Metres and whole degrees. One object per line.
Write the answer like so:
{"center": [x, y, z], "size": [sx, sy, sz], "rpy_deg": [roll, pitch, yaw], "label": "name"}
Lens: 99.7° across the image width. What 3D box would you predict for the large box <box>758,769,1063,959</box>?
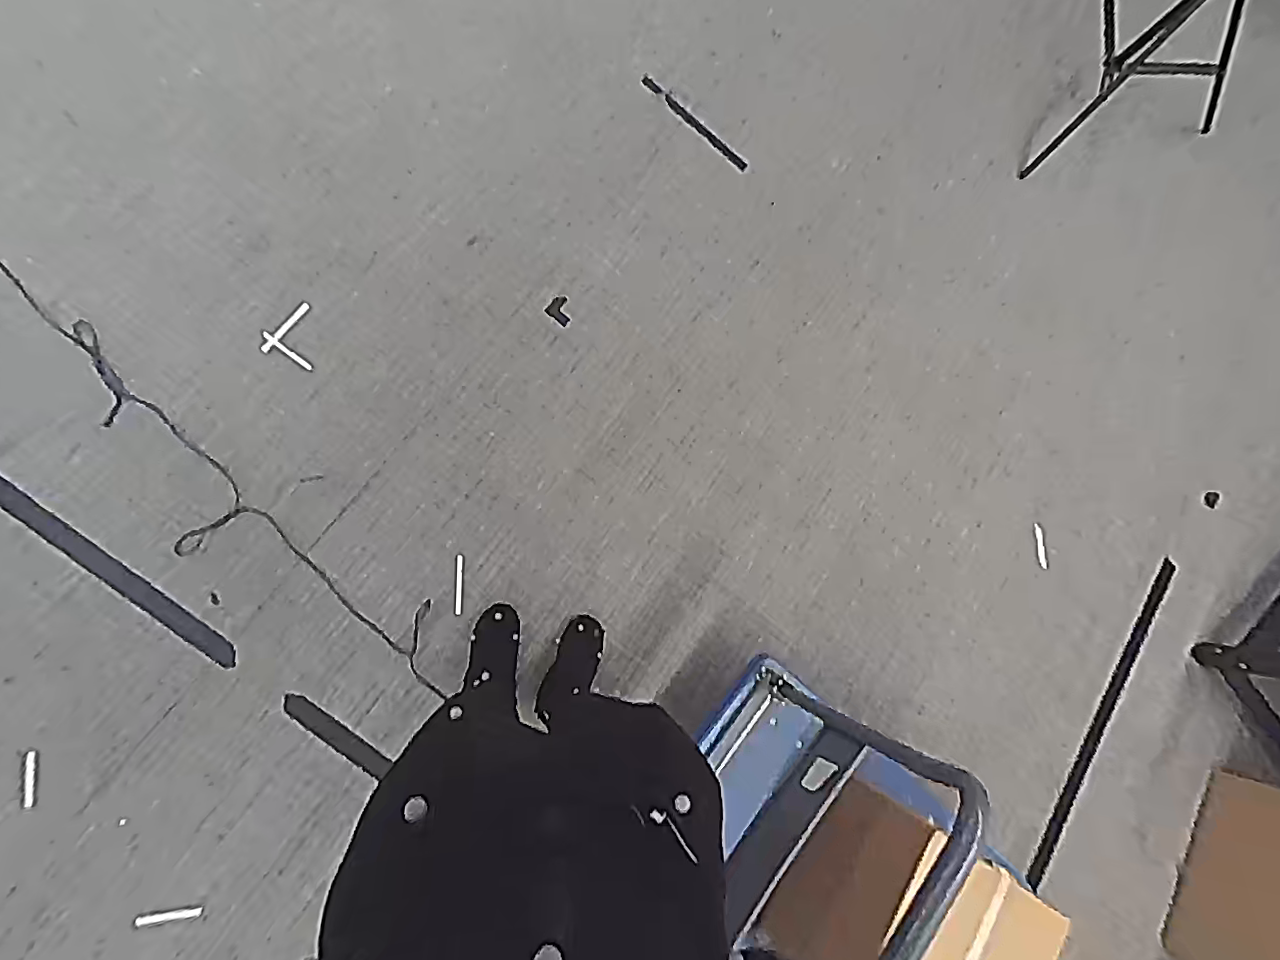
{"center": [0.500, 0.873, 1.052], "size": [0.320, 0.320, 0.408], "rpy_deg": [34, 78, -3], "label": "large box"}
